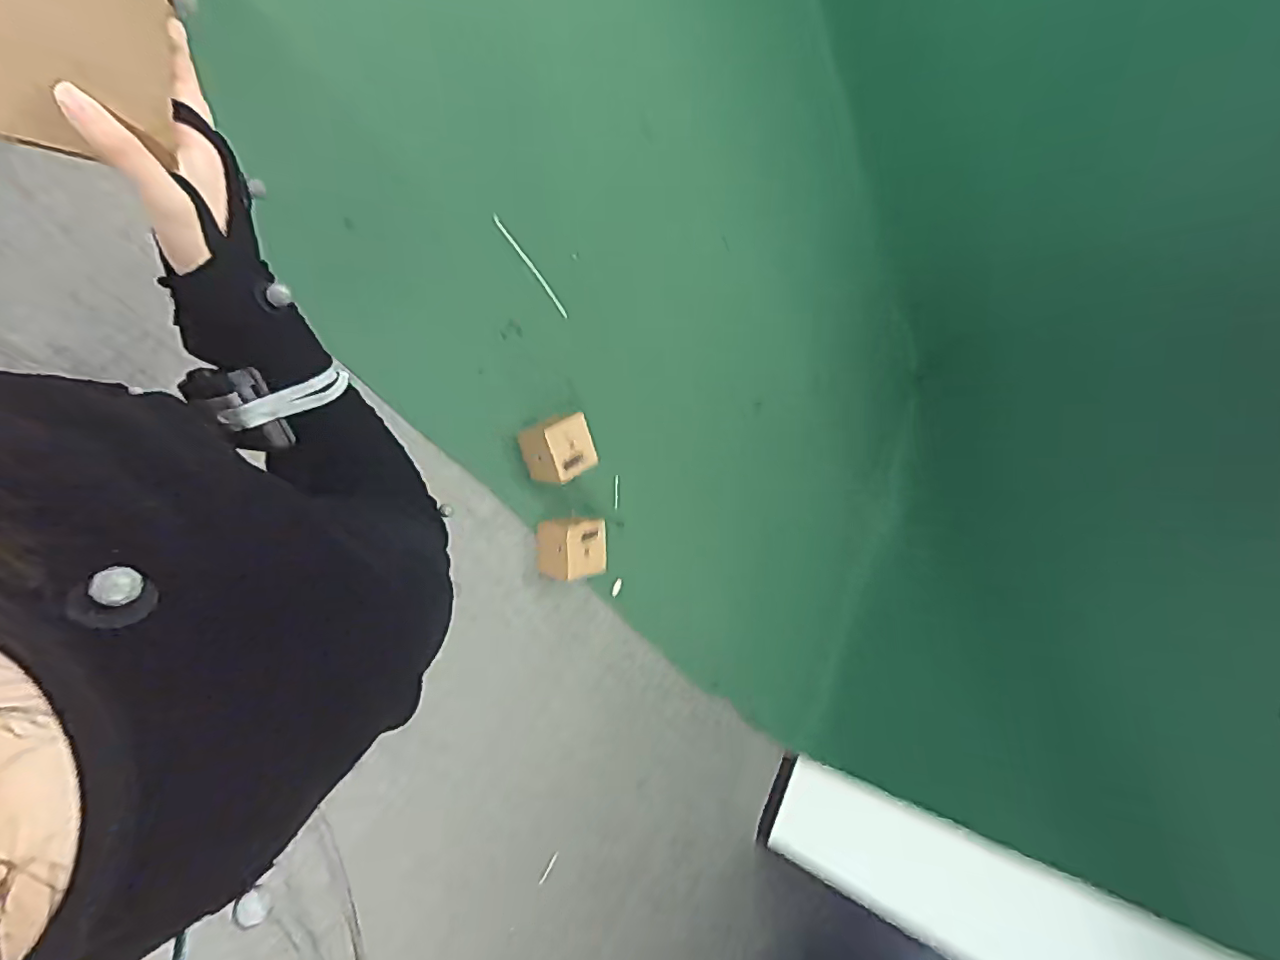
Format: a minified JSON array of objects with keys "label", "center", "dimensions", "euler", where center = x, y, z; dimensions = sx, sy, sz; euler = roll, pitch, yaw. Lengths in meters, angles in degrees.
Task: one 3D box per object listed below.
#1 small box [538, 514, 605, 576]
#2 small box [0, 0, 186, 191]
[{"label":"small box","center":[-0.237,0.213,1.847],"dimensions":[0.168,0.176,0.179],"euler":[-8,101,-44]},{"label":"small box","center":[-0.314,-0.279,0.244],"dimensions":[0.168,0.179,0.176],"euler":[-1,51,-39]}]
